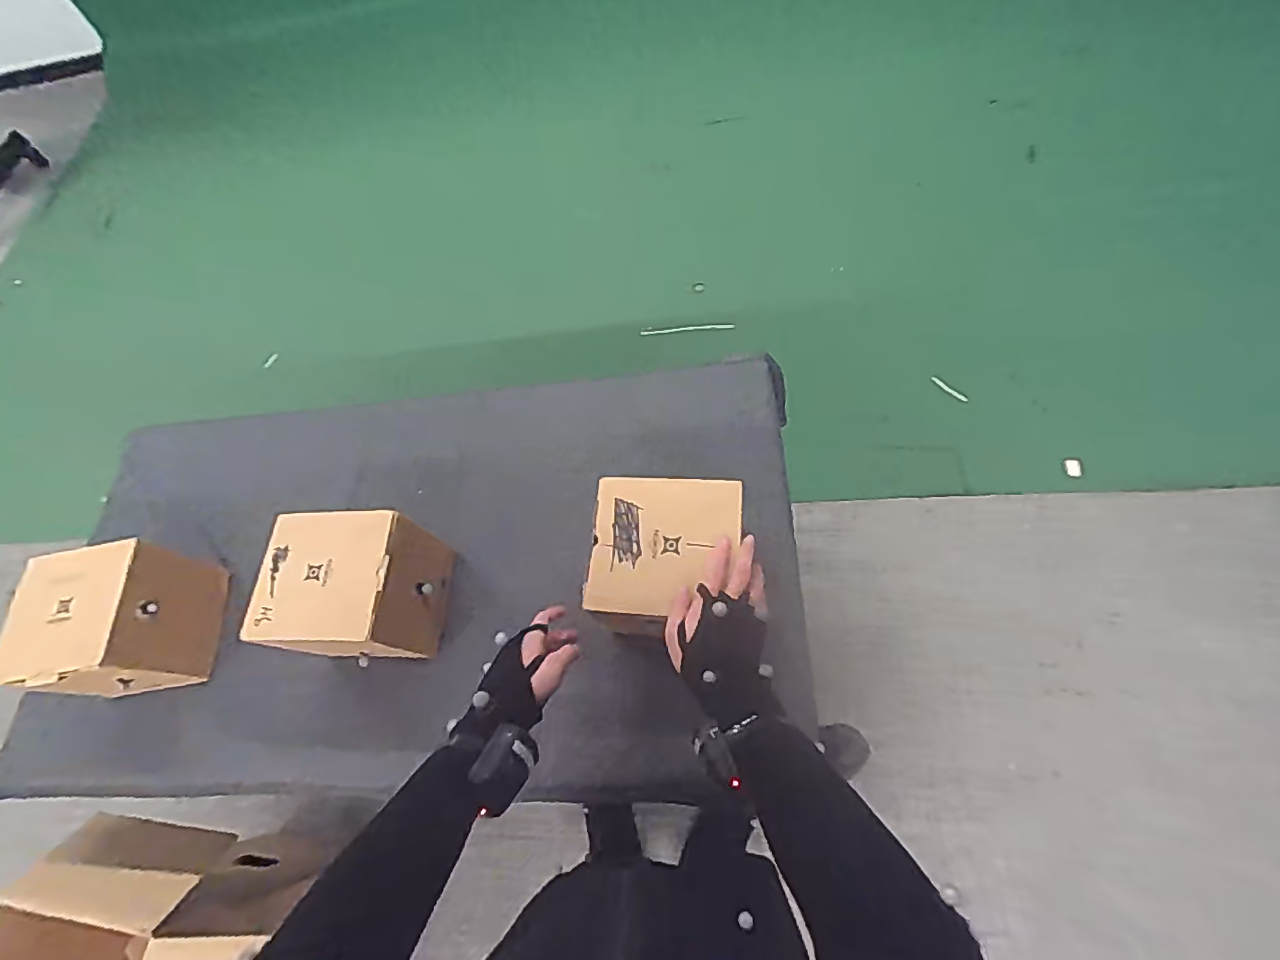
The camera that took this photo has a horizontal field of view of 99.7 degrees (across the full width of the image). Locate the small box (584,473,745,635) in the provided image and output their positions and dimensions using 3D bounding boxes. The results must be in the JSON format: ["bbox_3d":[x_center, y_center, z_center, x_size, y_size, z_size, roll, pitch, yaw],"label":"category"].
[{"bbox_3d":[0.043,0.101,0.694,0.179,0.176,0.168,2,67,11],"label":"small box"}]

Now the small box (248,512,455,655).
[{"bbox_3d":[-0.383,0.148,0.754,0.179,0.176,0.168,-2,66,9],"label":"small box"}]

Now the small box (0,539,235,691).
[{"bbox_3d":[-0.745,0.207,0.796,0.168,0.176,0.179,-11,63,3],"label":"small box"}]
